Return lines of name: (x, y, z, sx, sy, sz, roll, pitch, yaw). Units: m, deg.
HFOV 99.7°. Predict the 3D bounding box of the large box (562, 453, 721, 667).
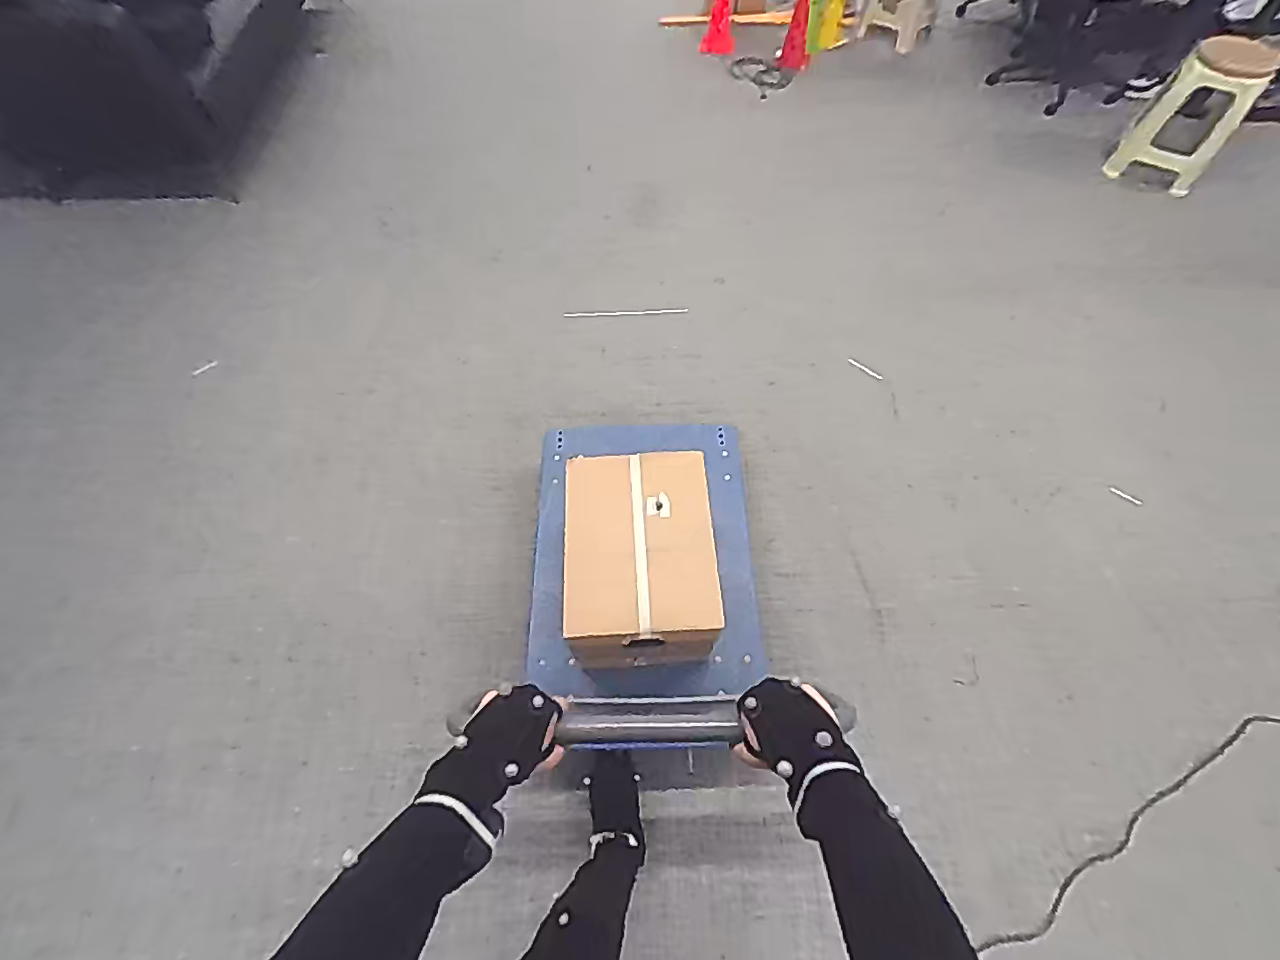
large box: (-0.004, 0.194, 1.269, 0.320, 0.320, 0.408, -3, 61, -1)
